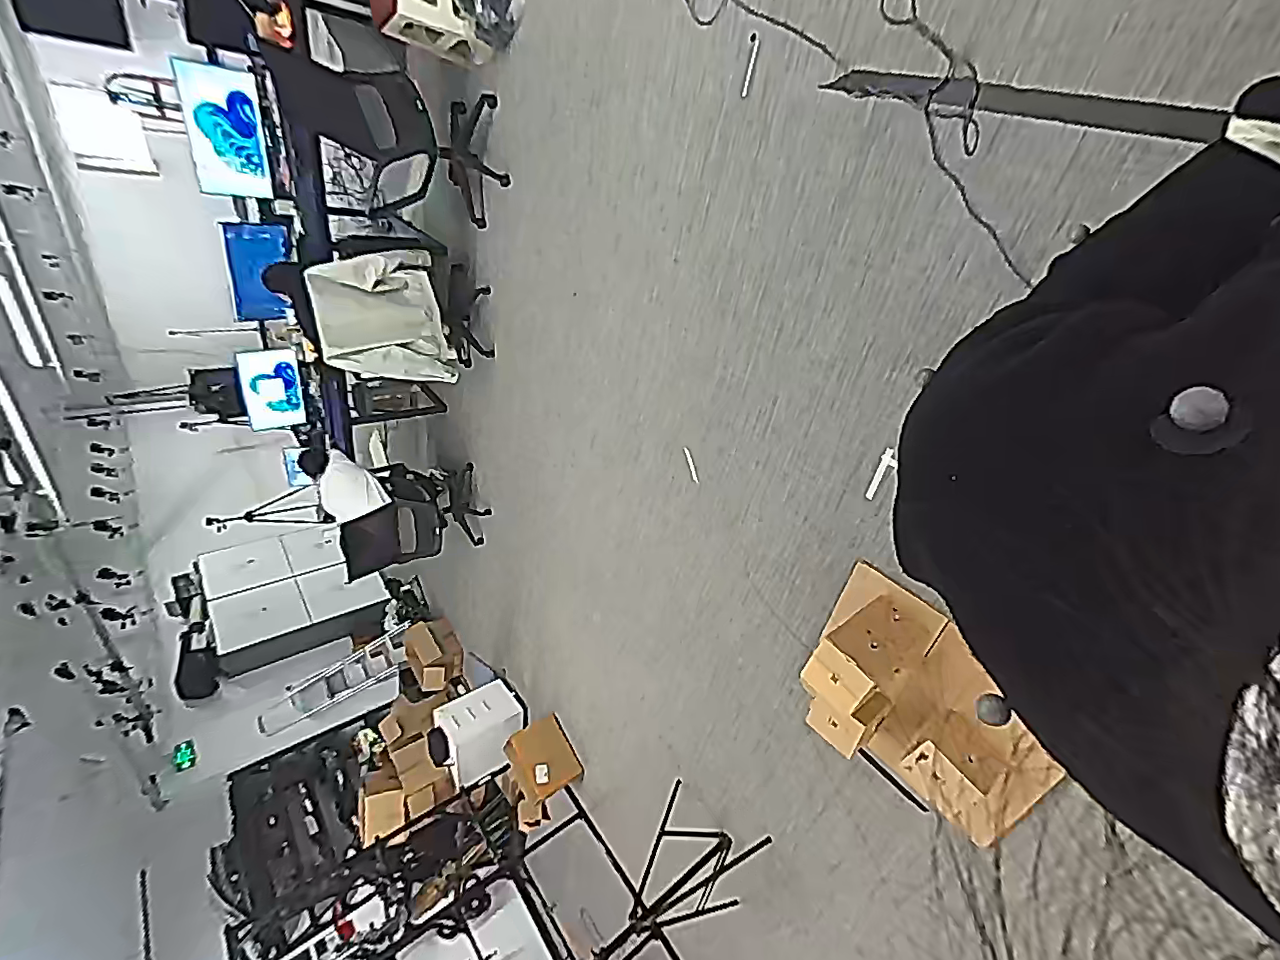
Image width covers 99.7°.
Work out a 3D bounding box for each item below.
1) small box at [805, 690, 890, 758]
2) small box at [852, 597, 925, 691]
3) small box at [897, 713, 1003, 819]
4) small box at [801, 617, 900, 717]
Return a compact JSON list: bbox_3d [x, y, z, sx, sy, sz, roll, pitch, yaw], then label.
[{"bbox_3d":[0.680,0.755,1.771,0.179,0.176,0.168,35,129,40],"label":"small box"},{"bbox_3d":[0.719,0.487,1.623,0.168,0.176,0.179,39,130,36],"label":"small box"},{"bbox_3d":[0.881,0.804,1.532,0.179,0.176,0.168,46,134,29],"label":"small box"},{"bbox_3d":[0.594,0.521,1.524,0.168,0.176,0.179,43,131,34],"label":"small box"}]
